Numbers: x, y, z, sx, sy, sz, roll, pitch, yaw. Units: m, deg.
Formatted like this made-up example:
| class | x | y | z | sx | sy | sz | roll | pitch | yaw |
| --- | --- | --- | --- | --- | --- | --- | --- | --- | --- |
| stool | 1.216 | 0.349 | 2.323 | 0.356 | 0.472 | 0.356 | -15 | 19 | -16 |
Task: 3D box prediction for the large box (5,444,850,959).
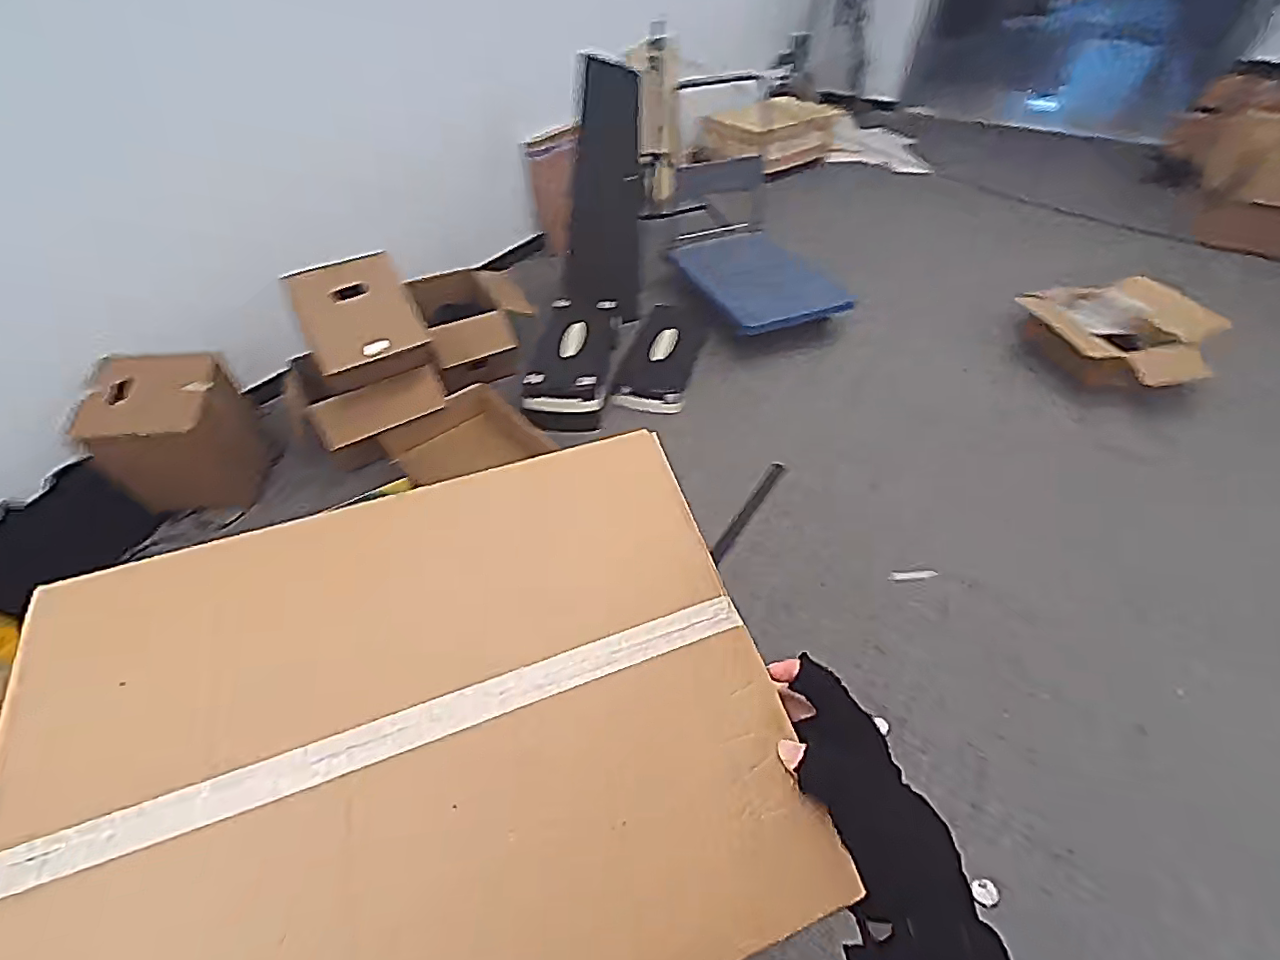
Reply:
| class | x | y | z | sx | sy | sz | roll | pitch | yaw |
| --- | --- | --- | --- | --- | --- | --- | --- | --- | --- |
| large box | -0.127 | 0.222 | 0.441 | 0.408 | 0.320 | 0.320 | -15 | 60 | -12 |
